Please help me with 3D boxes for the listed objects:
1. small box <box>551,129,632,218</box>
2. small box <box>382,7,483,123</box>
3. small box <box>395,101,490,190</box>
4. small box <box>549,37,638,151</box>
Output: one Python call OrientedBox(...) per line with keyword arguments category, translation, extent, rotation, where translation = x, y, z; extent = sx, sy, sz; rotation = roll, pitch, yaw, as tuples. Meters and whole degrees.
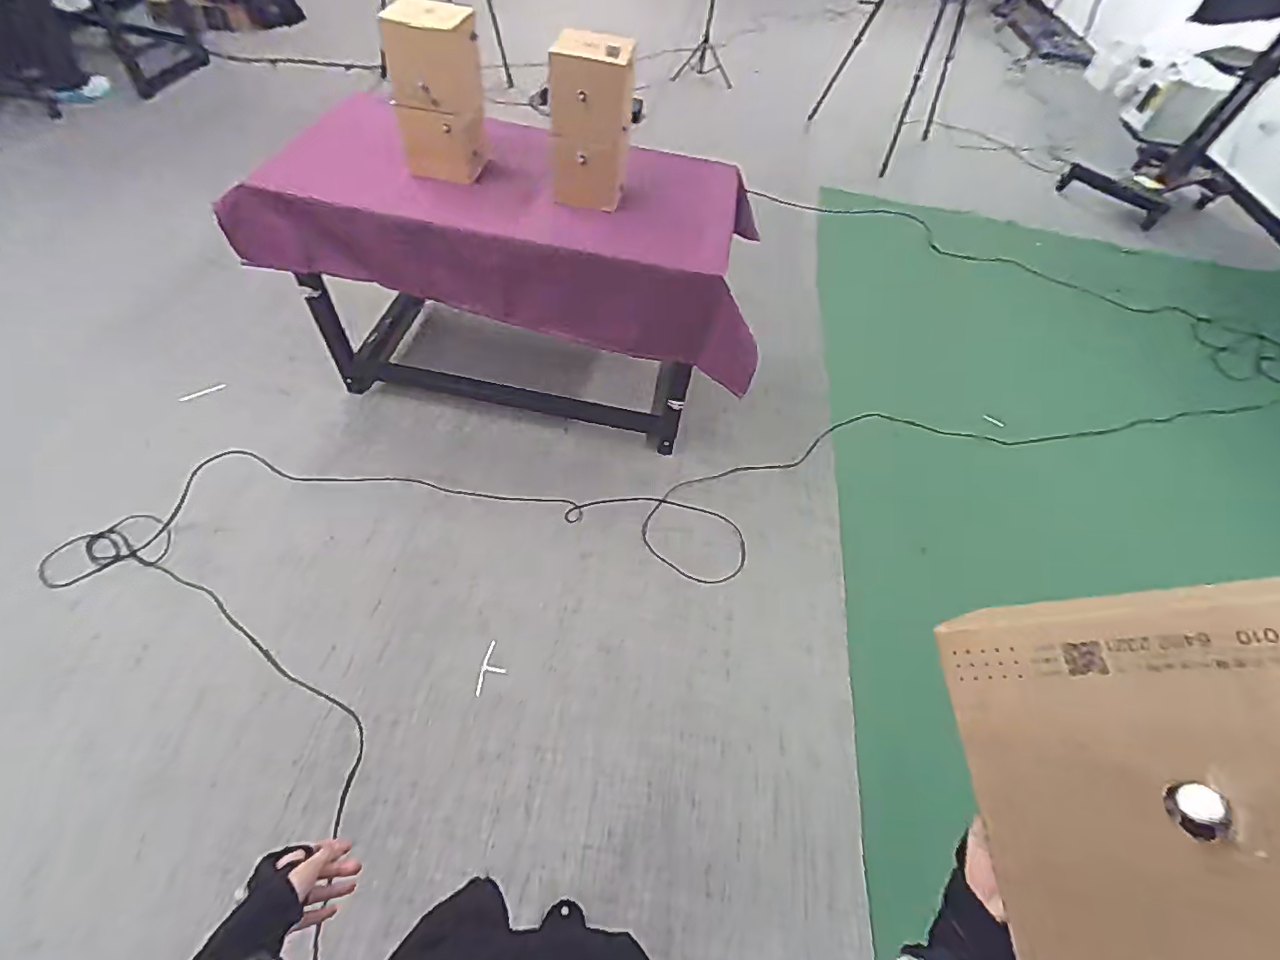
OrientedBox(category="small box", translation=(-0.127, -0.817, 1.420), extent=(0.179, 0.176, 0.168), rotation=(11, 54, 0))
OrientedBox(category="small box", translation=(-0.485, -0.993, 1.298), extent=(0.168, 0.176, 0.179), rotation=(10, 53, 0))
OrientedBox(category="small box", translation=(-0.511, -0.894, 1.428), extent=(0.179, 0.176, 0.168), rotation=(10, 53, -1))
OrientedBox(category="small box", translation=(-0.110, -0.914, 1.288), extent=(0.179, 0.176, 0.168), rotation=(10, 54, 1))
